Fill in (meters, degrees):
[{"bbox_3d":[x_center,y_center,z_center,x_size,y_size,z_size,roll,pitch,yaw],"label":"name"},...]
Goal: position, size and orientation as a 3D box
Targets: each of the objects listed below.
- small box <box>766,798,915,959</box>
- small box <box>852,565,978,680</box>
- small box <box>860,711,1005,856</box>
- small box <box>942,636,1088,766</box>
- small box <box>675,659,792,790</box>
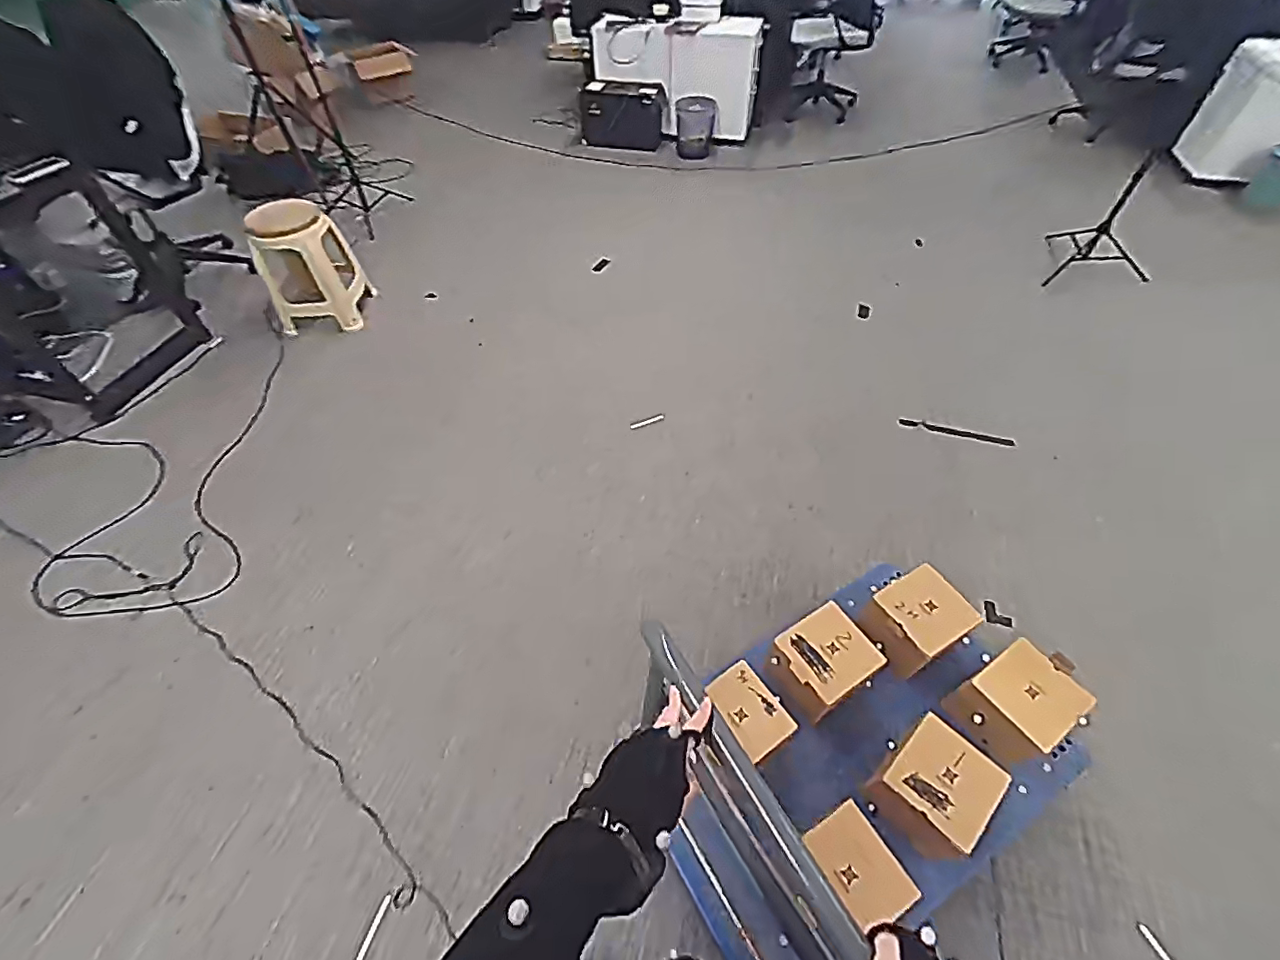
[{"bbox_3d":[0.346,0.715,0.976,0.179,0.176,0.168,-25,56,-18],"label":"small box"},{"bbox_3d":[0.633,0.336,1.268,0.179,0.176,0.168,-25,55,-16],"label":"small box"},{"bbox_3d":[0.559,0.599,1.062,0.179,0.176,0.168,-36,59,-25],"label":"small box"},{"bbox_3d":[0.784,0.476,1.155,0.179,0.176,0.168,-28,56,-20],"label":"small box"},{"bbox_3d":[0.188,0.517,1.133,0.179,0.176,0.168,-29,57,-20],"label":"small box"}]
